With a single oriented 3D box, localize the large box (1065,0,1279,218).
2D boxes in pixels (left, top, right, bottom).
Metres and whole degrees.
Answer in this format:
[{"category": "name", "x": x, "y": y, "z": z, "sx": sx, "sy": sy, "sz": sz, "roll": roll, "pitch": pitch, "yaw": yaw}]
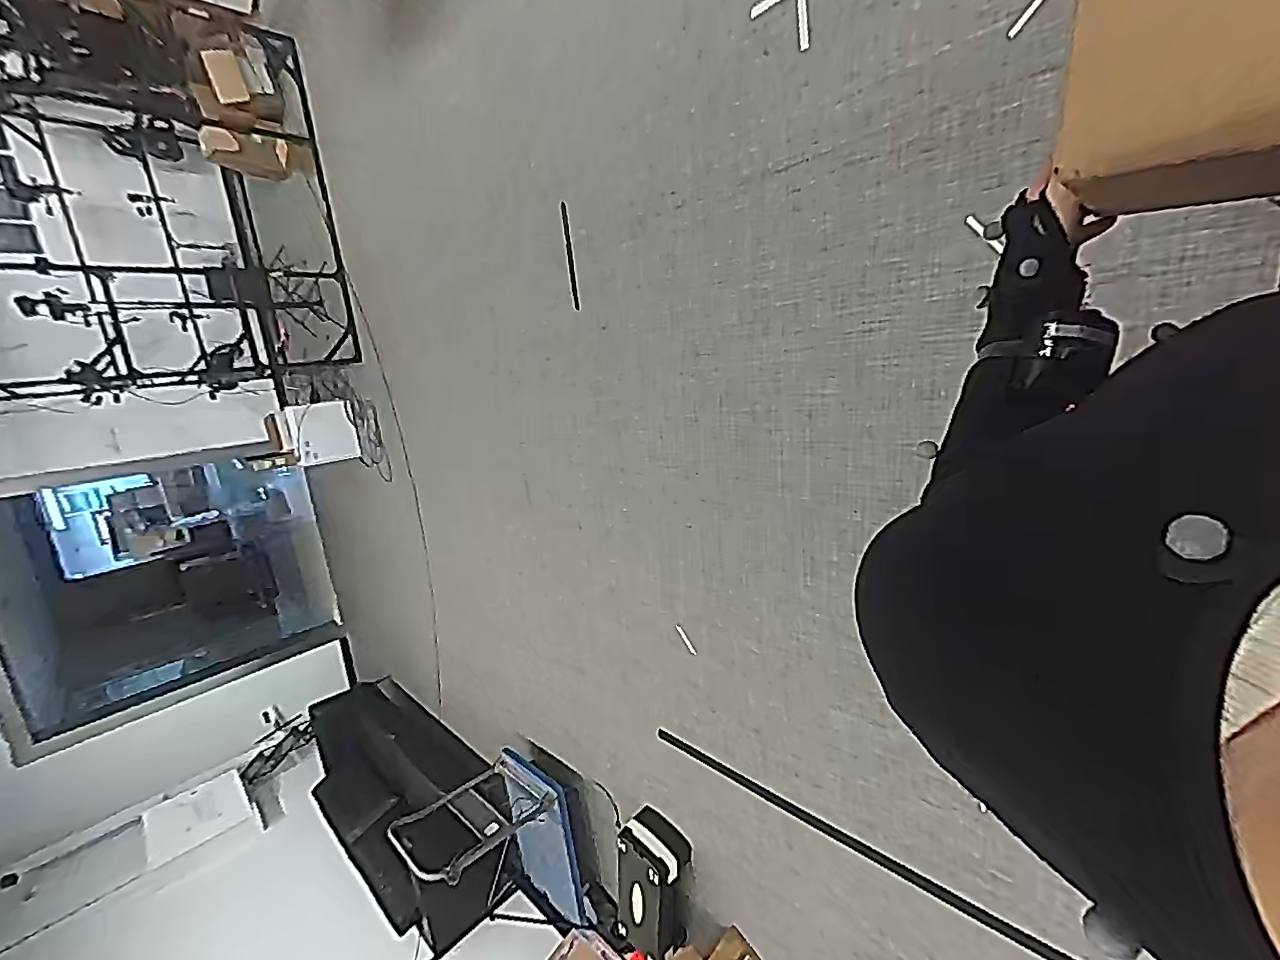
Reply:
[{"category": "large box", "x": 0.439, "y": -0.313, "z": 0.207, "sx": 0.408, "sy": 0.320, "sz": 0.320, "roll": 9, "pitch": 113, "yaw": 40}]
